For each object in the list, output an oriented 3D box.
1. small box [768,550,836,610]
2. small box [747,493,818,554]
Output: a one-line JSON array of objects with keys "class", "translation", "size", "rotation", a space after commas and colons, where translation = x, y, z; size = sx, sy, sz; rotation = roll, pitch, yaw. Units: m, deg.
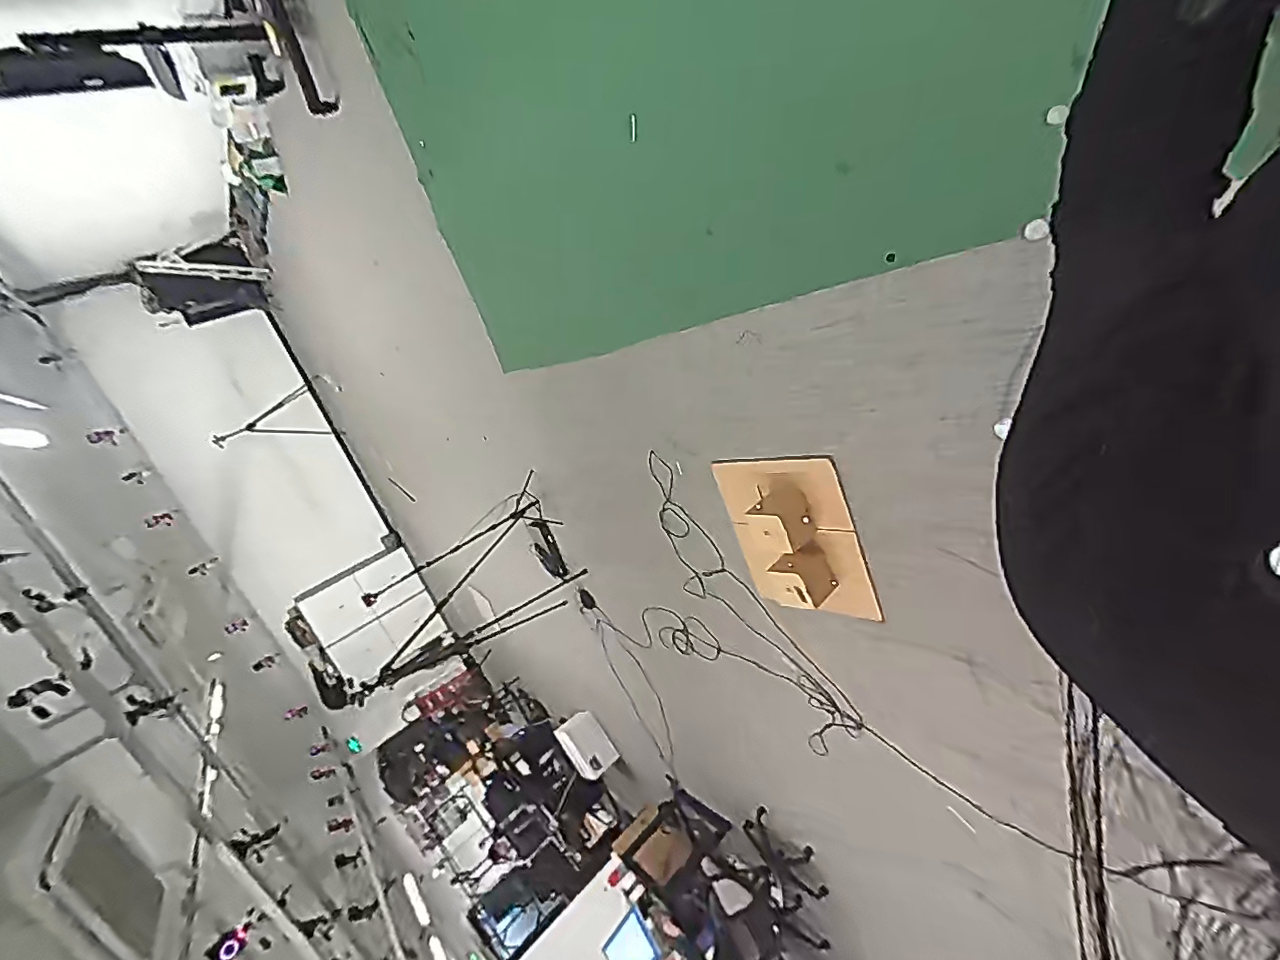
[{"class": "small box", "translation": [0.644, 0.385, 2.120], "size": [0.179, 0.176, 0.168], "rotation": [-8, 111, 57]}, {"class": "small box", "translation": [0.546, 0.160, 2.065], "size": [0.179, 0.176, 0.168], "rotation": [-1, 117, 54]}]
